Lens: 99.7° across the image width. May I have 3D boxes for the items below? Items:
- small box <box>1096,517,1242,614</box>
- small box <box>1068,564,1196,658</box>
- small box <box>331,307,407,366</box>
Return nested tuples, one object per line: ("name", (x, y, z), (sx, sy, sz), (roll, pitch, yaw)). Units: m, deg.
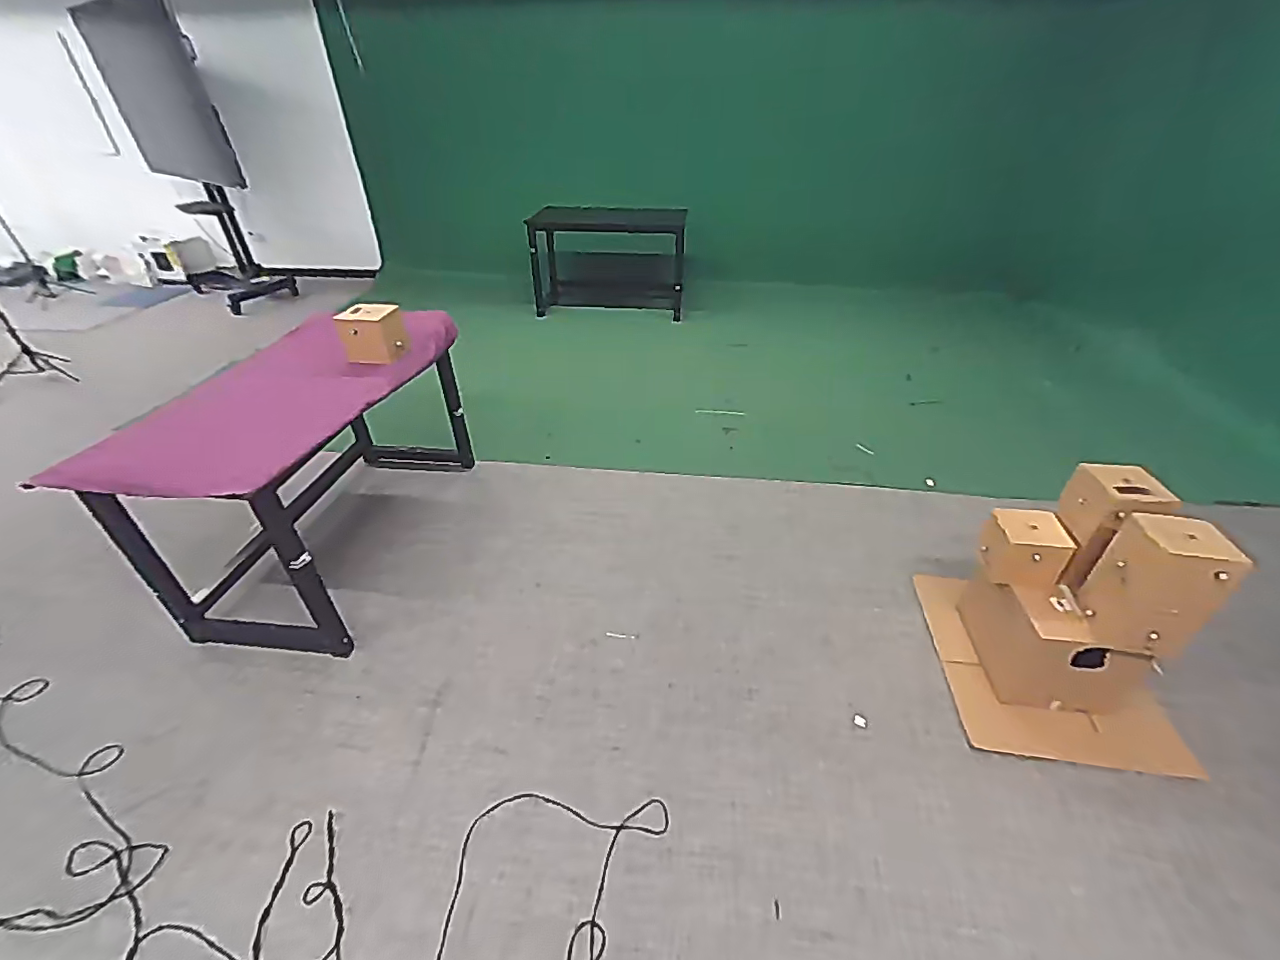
("small box", (1.319, 0.217, 1.365), (0.179, 0.176, 0.168), (7, 34, 9))
("small box", (1.316, 0.354, 1.461), (0.168, 0.176, 0.179), (6, 33, 9))
("small box", (-0.998, -0.533, 2.006), (0.179, 0.176, 0.168), (4, 36, 6))
